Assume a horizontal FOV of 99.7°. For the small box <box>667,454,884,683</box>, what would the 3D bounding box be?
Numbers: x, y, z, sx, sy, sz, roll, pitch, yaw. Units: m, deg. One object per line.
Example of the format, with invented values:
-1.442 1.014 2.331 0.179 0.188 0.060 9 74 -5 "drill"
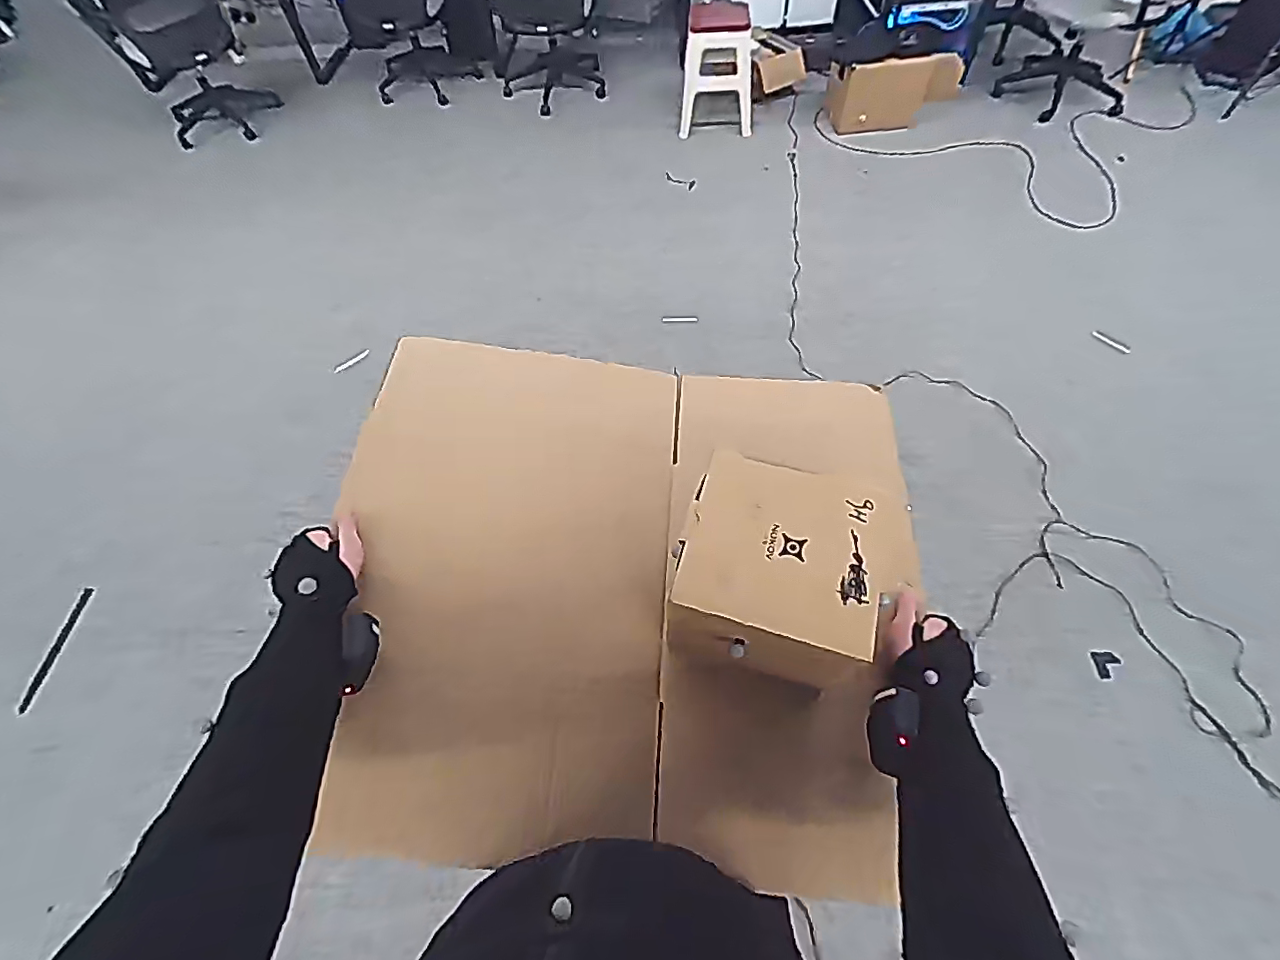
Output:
0.135 0.099 0.570 0.179 0.176 0.168 14 62 12 "small box"
